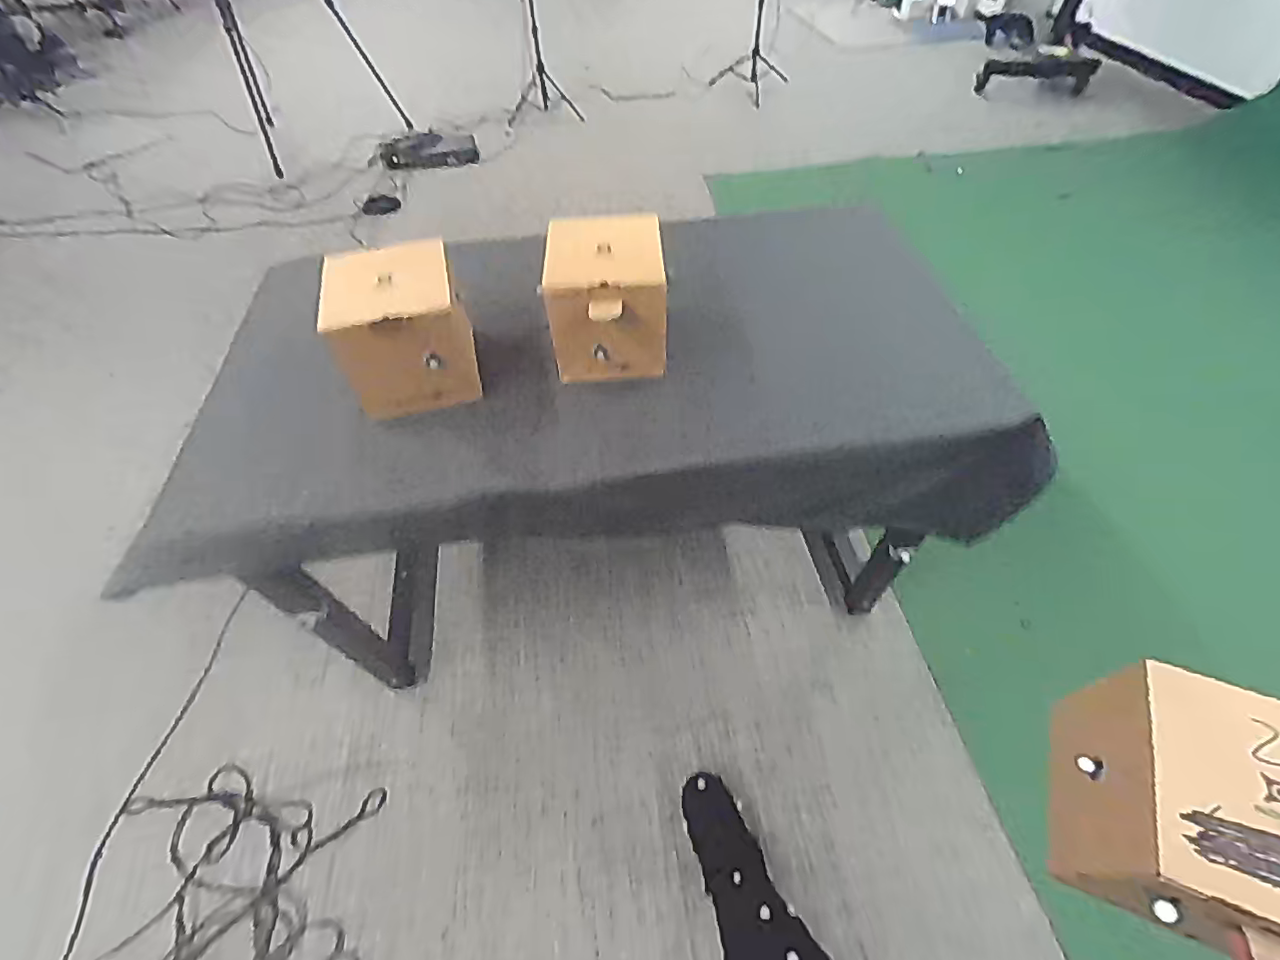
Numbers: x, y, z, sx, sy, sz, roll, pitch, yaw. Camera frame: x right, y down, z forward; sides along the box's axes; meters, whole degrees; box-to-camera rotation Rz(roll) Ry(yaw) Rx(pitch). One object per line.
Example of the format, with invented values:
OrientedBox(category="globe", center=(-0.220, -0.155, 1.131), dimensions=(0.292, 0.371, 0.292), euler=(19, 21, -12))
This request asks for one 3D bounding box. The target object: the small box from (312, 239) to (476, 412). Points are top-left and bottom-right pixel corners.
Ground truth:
OrientedBox(category="small box", center=(-0.343, -0.215, 0.780), dimensions=(0.168, 0.176, 0.179), euler=(-13, 52, -10))

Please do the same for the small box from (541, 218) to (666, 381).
OrientedBox(category="small box", center=(-0.051, -0.270, 0.815), dimensions=(0.168, 0.176, 0.179), euler=(-2, 53, -1))
